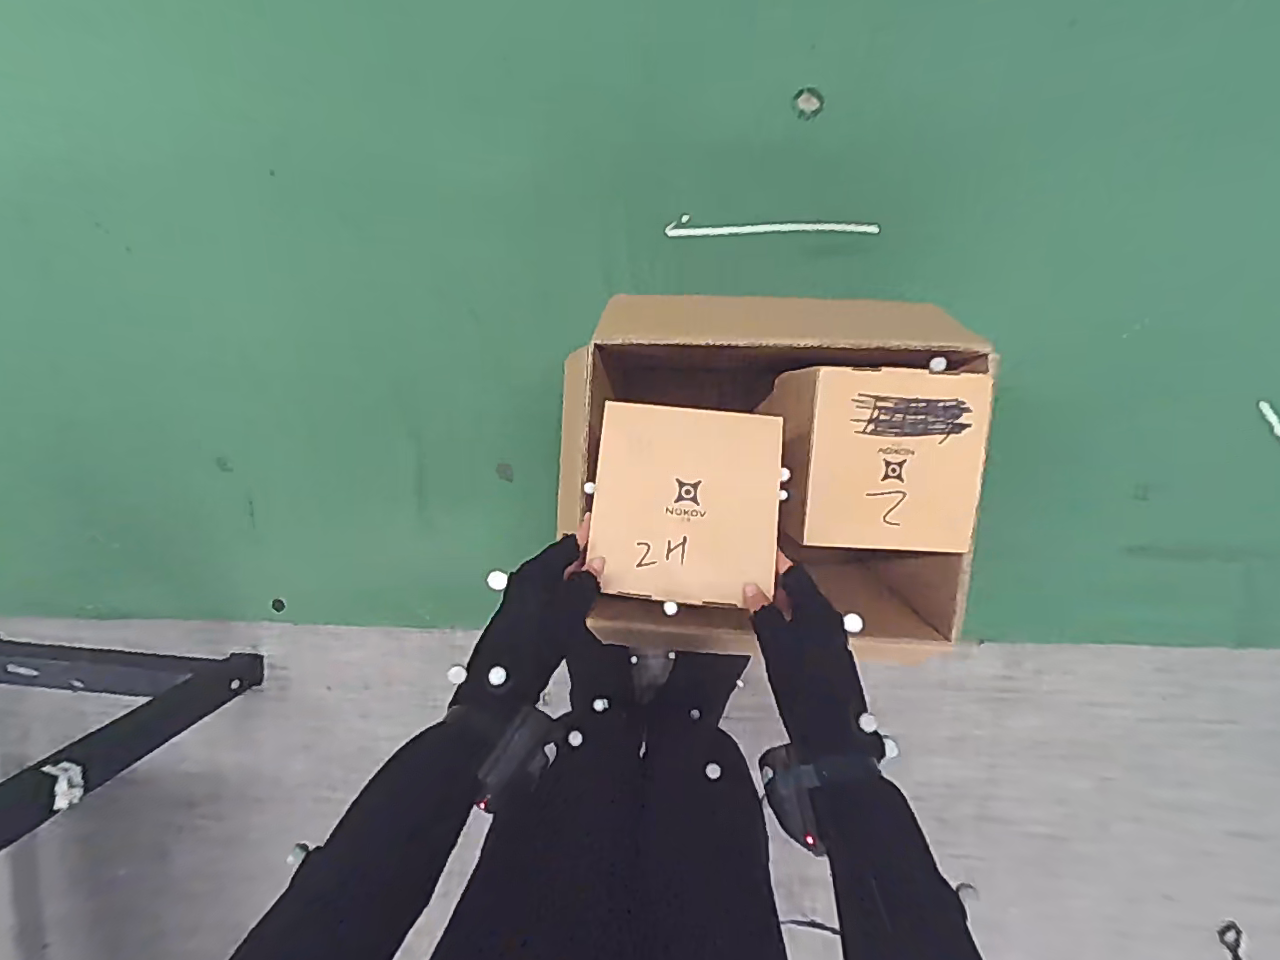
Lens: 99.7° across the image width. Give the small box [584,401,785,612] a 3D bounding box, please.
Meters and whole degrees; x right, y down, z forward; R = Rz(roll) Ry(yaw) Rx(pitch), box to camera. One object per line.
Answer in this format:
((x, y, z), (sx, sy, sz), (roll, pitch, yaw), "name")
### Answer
((0.043, 0.036, 0.557), (0.168, 0.176, 0.179), (6, 79, 3), "small box")
